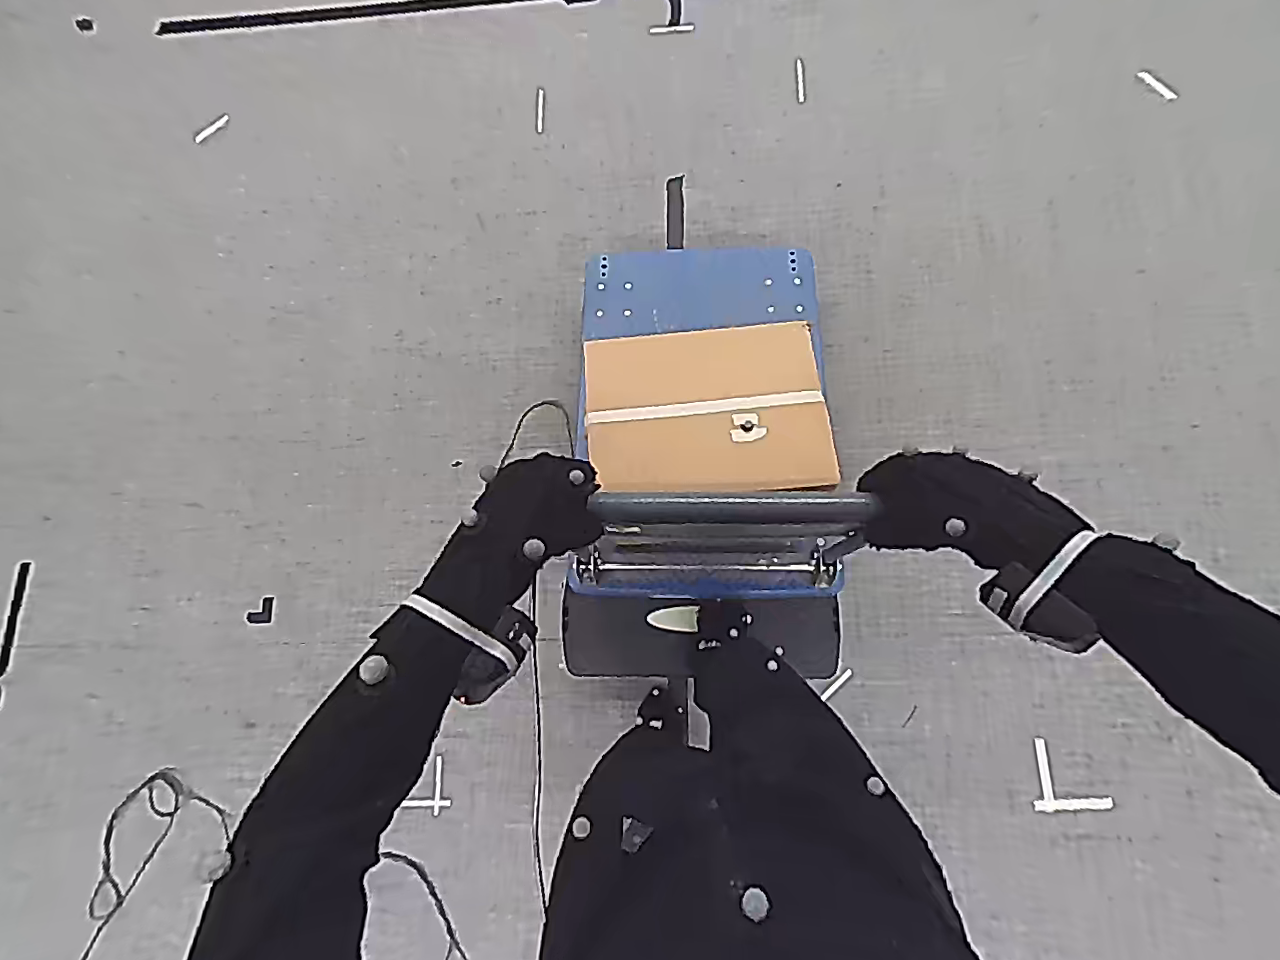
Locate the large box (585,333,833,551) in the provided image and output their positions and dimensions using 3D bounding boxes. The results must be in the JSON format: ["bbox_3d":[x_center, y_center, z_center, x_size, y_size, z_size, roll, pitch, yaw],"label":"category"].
[{"bbox_3d":[0.115,-0.057,1.080,0.408,0.320,0.320,-5,71,1],"label":"large box"}]
